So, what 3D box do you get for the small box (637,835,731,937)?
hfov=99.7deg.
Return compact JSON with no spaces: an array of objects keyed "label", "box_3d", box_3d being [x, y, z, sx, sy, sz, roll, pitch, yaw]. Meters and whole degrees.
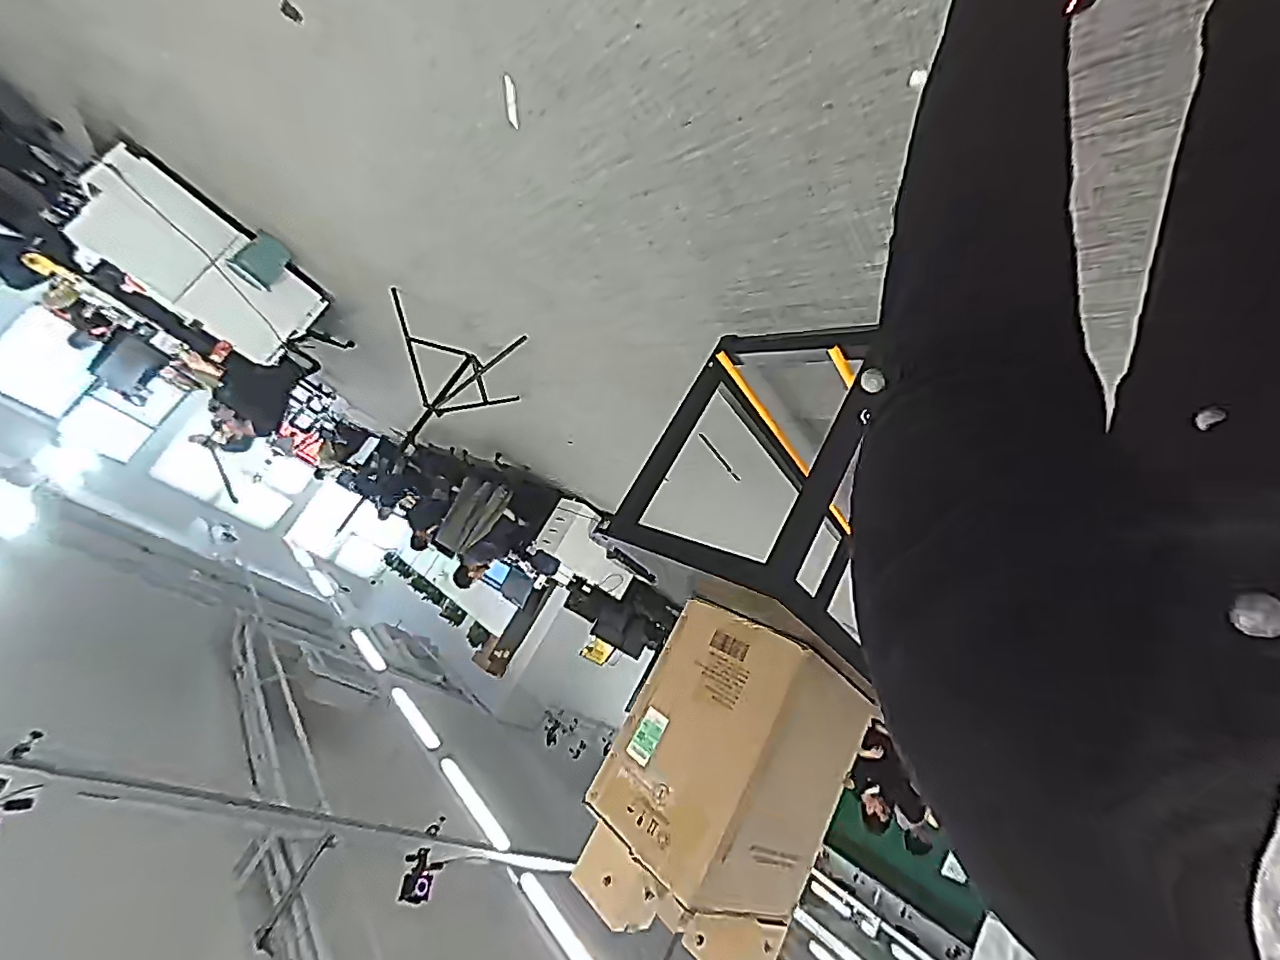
[{"label":"small box","box_3d":[0.133,1.169,1.563,0.168,0.176,0.179,14,156,49]}]
